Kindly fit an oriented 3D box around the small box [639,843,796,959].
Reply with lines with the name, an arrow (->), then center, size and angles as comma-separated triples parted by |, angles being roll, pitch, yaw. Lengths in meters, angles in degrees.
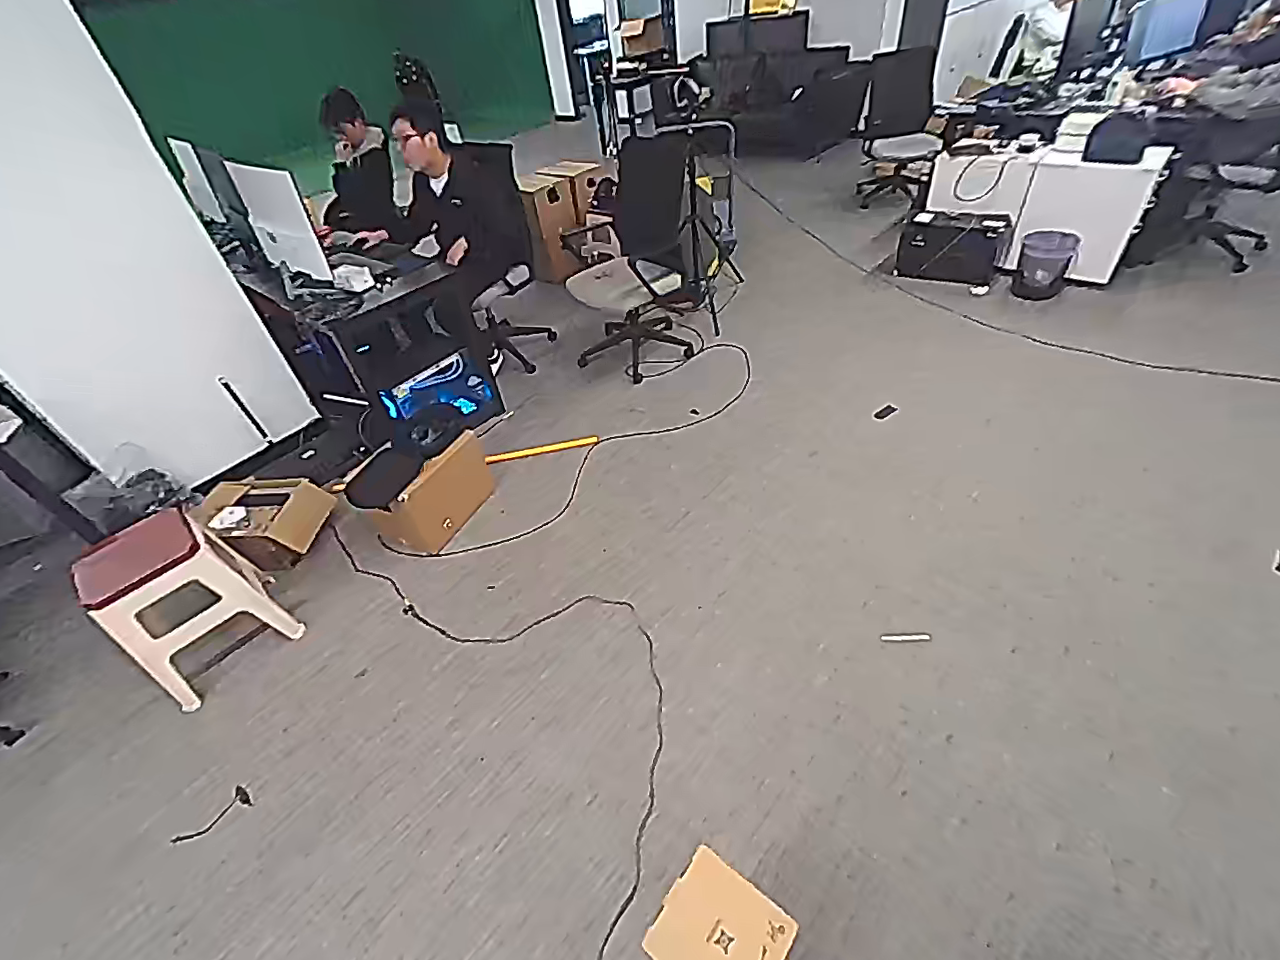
small box -> 0.121, 0.725, 0.844 | 0.179, 0.176, 0.168 | 25, 52, 31
